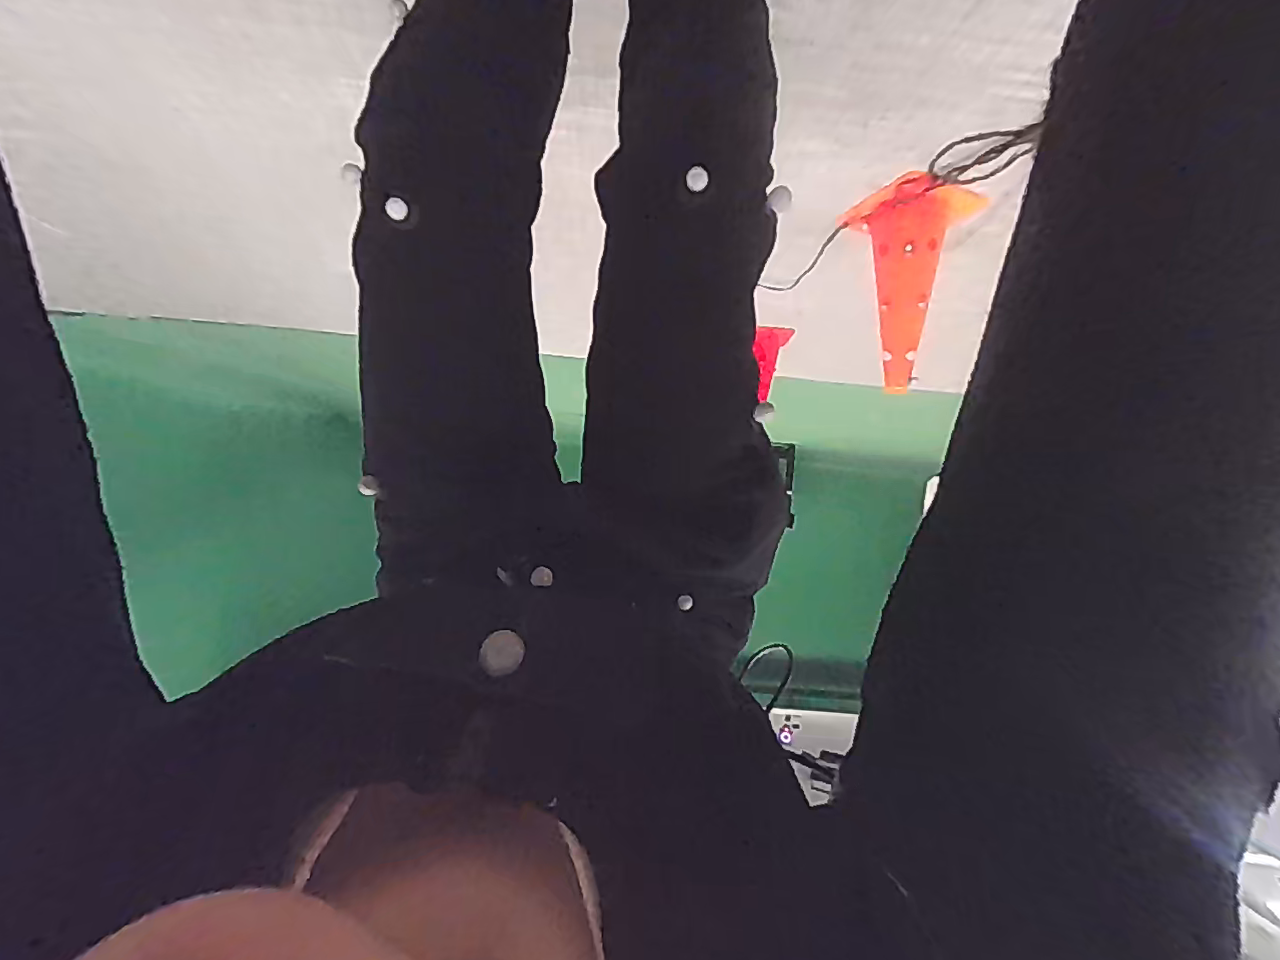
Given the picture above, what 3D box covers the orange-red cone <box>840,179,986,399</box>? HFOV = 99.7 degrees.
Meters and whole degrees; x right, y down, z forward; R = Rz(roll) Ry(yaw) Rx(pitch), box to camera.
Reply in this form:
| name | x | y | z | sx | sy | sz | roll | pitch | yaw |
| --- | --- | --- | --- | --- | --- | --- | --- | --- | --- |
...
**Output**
| name | x | y | z | sx | sy | sz | roll | pitch | yaw |
| --- | --- | --- | --- | --- | --- | --- | --- | --- | --- |
| orange-red cone | 0.502 | -0.335 | 1.027 | 0.199 | 0.360 | 0.198 | 5 | 178 | -22 |
